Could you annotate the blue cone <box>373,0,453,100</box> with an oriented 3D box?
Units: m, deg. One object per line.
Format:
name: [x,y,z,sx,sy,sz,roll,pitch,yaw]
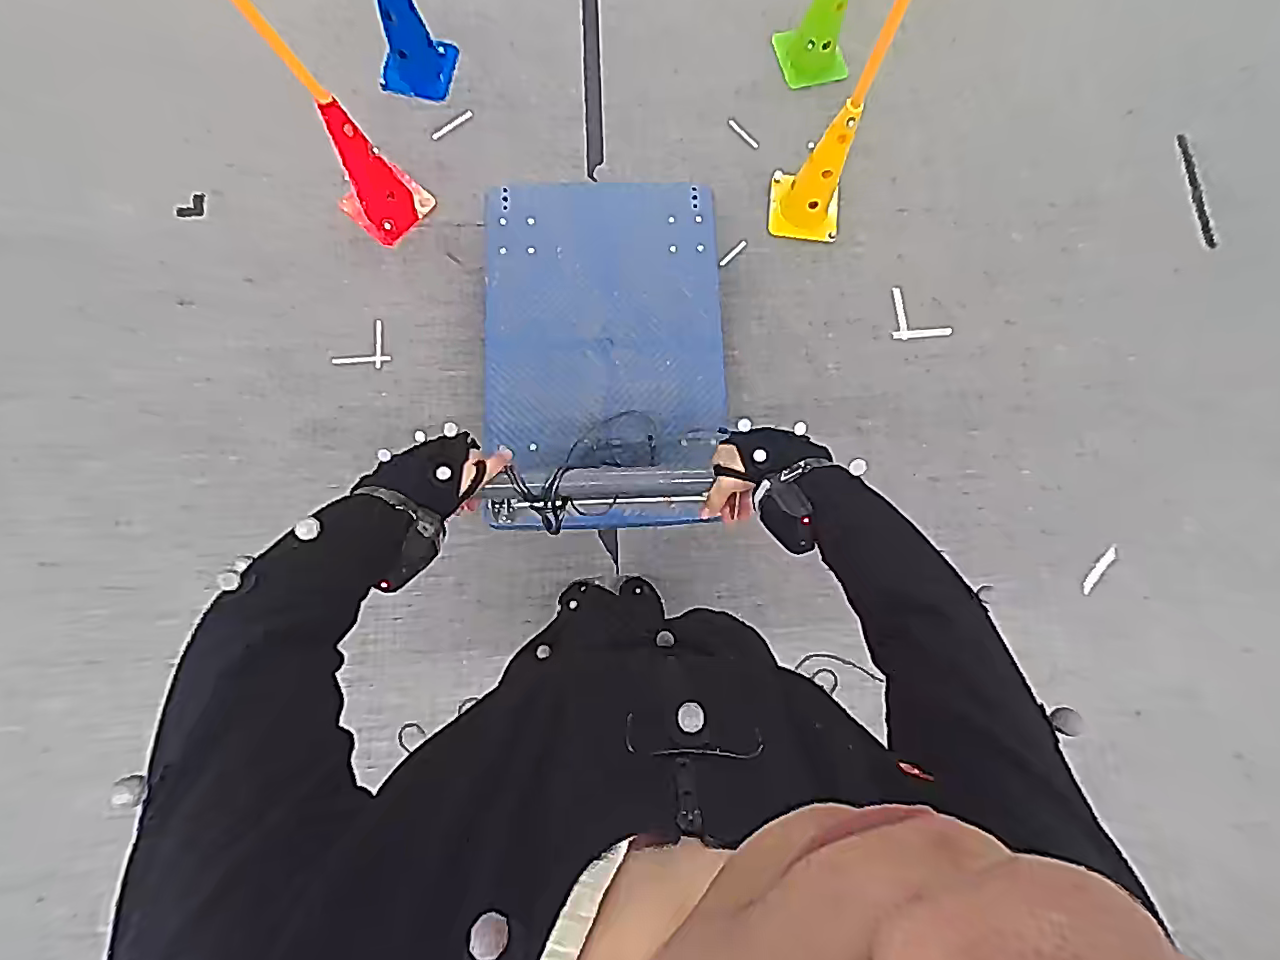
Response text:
blue cone: [-0.647,-1.239,1.425,0.193,0.380,0.192,12,81,-1]

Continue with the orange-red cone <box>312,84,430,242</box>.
orange-red cone: [-0.701,-0.808,1.335,0.198,0.360,0.199,42,80,4]

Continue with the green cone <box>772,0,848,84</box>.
green cone: [0.529,-1.339,1.486,0.200,0.368,0.202,-16,83,-5]
